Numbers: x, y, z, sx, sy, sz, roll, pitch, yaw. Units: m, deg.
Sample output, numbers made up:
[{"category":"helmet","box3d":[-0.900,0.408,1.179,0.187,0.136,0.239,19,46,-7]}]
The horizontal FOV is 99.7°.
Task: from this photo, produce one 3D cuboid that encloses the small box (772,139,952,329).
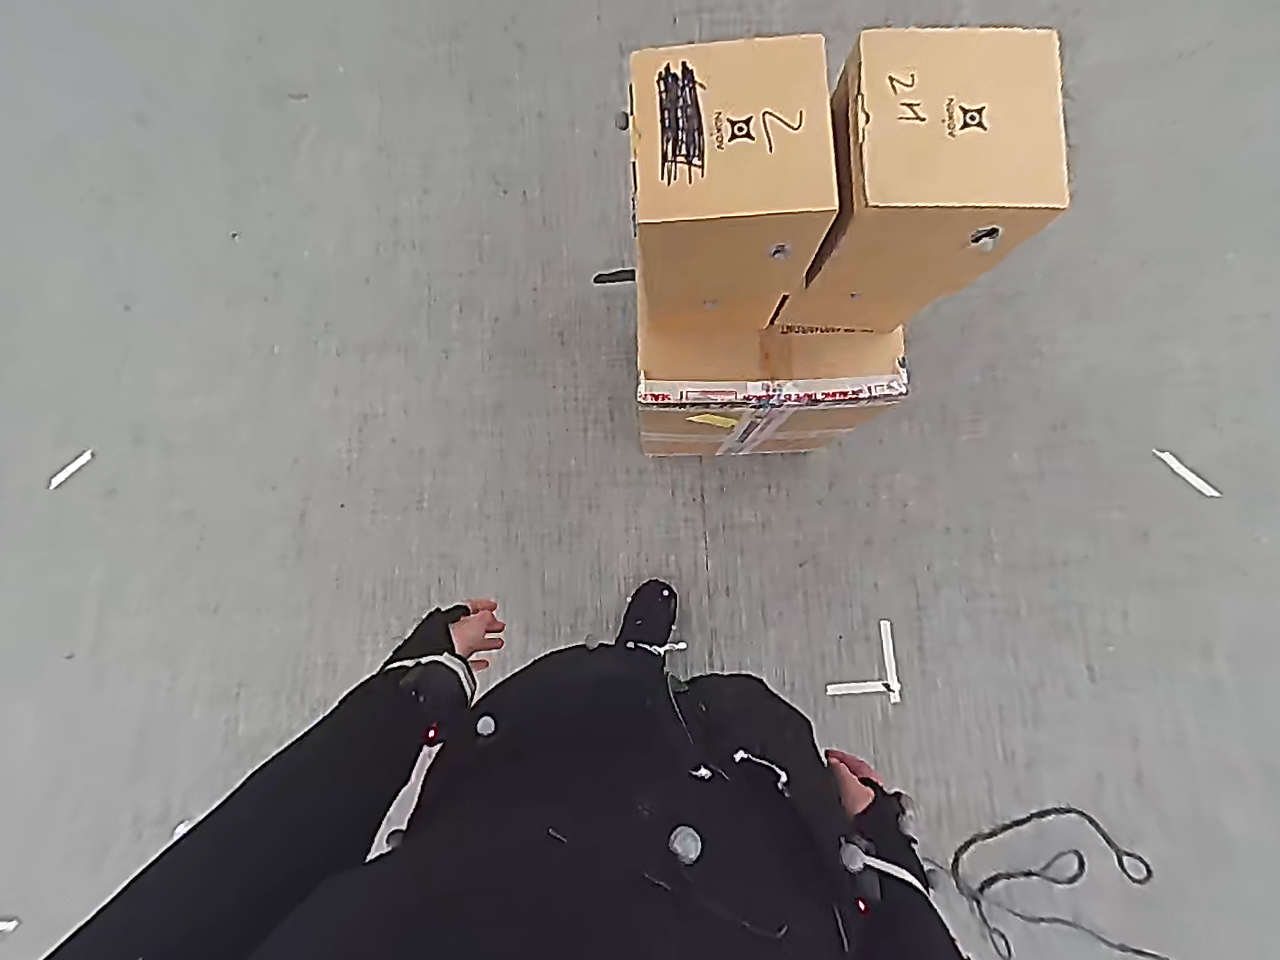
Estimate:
[{"category":"small box","box3d":[0.277,-0.309,0.710,0.179,0.176,0.168,3,84,1]}]
